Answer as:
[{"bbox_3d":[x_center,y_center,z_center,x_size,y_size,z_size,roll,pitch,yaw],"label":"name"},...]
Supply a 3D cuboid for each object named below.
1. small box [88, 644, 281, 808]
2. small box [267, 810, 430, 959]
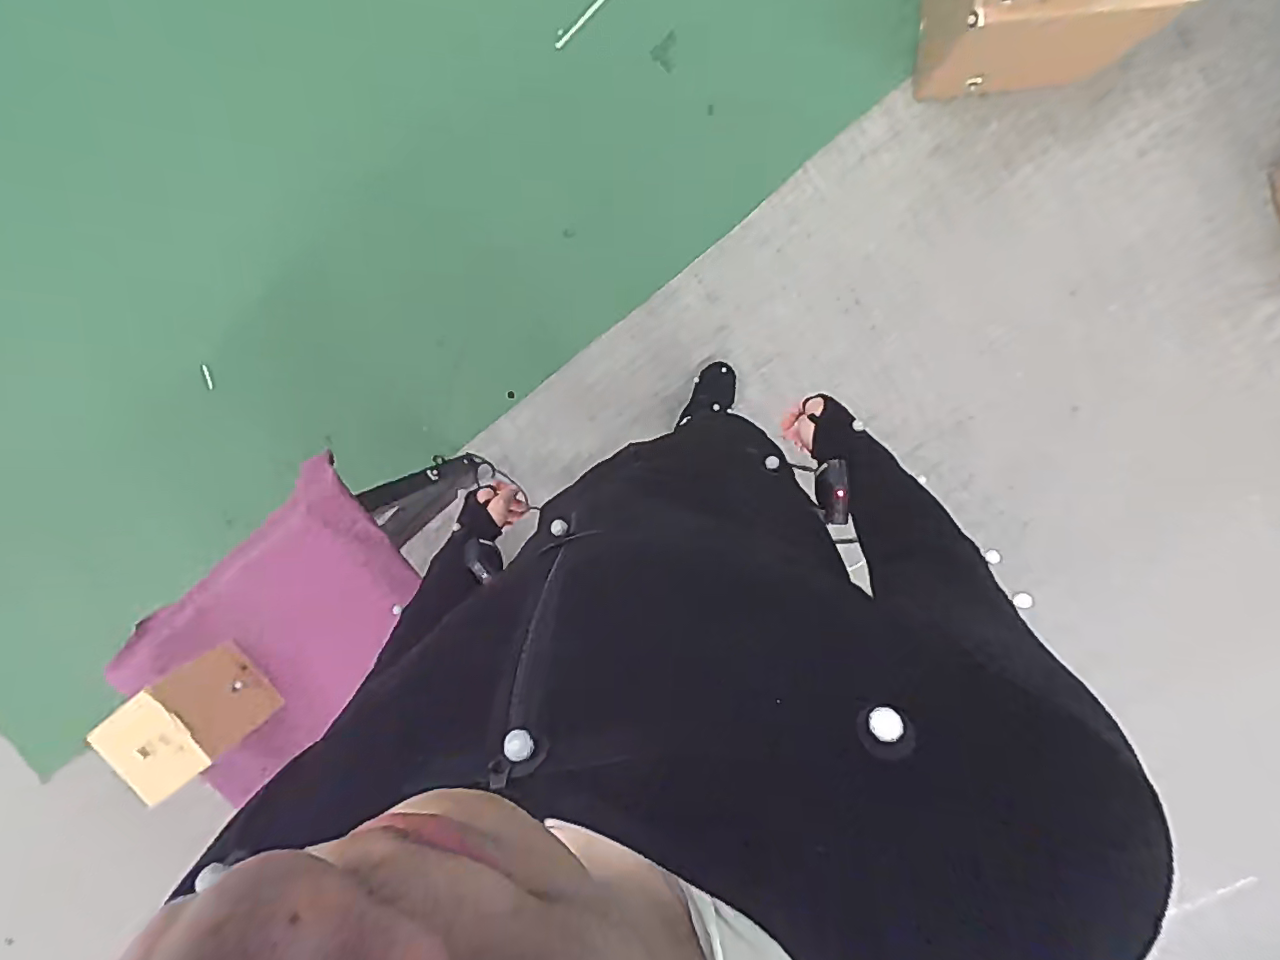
[{"bbox_3d":[-0.810,0.436,0.980,0.179,0.176,0.168,-36,97,11],"label":"small box"},{"bbox_3d":[-0.539,0.781,1.024,0.179,0.176,0.168,-38,95,11],"label":"small box"}]
